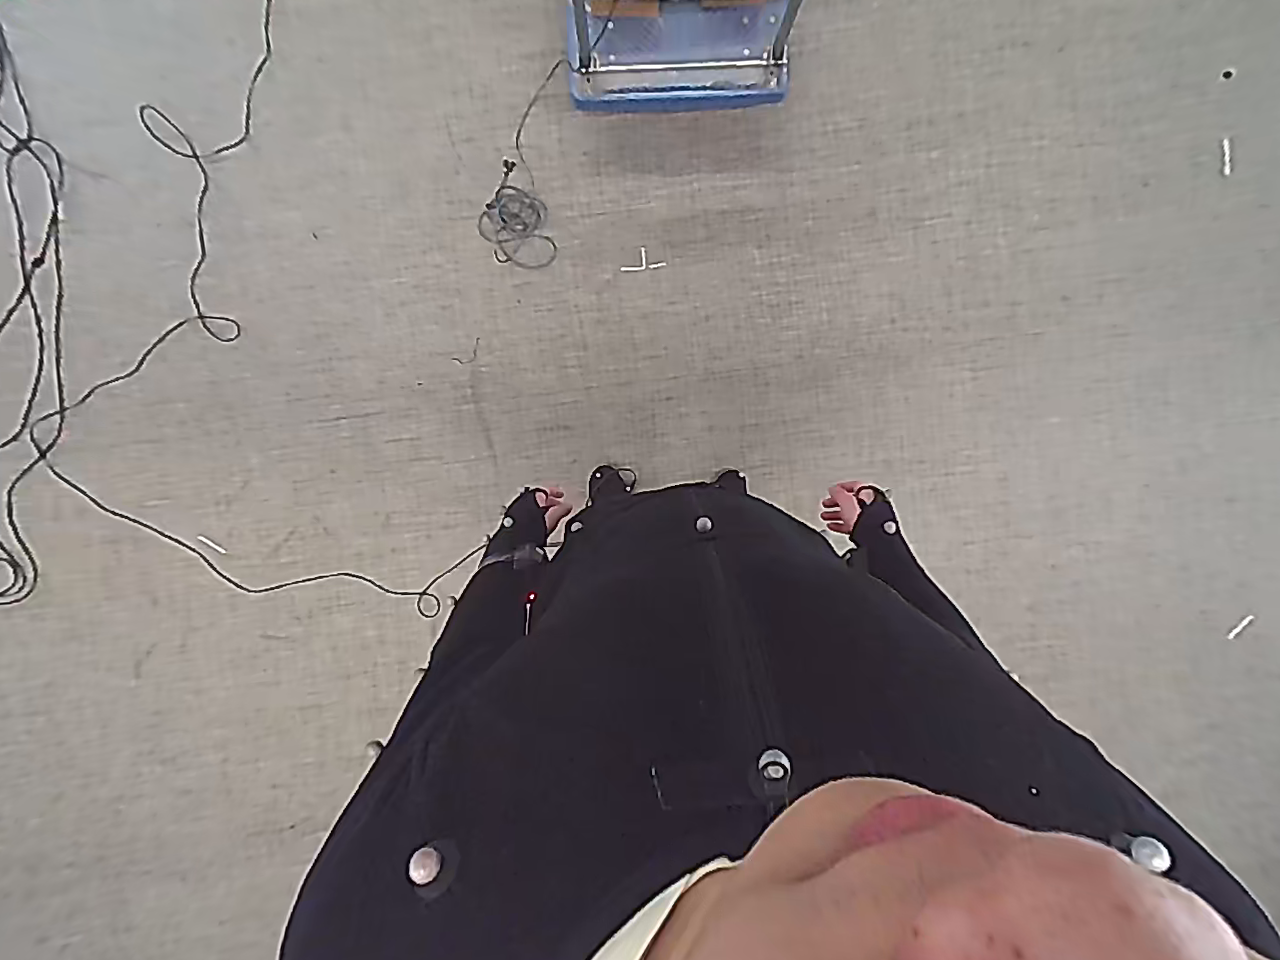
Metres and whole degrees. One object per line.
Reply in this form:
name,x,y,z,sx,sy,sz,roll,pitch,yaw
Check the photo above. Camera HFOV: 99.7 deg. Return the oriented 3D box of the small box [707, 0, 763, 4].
small box,0.240,-1.313,1.311,0.168,0.176,0.179,-1,94,1
